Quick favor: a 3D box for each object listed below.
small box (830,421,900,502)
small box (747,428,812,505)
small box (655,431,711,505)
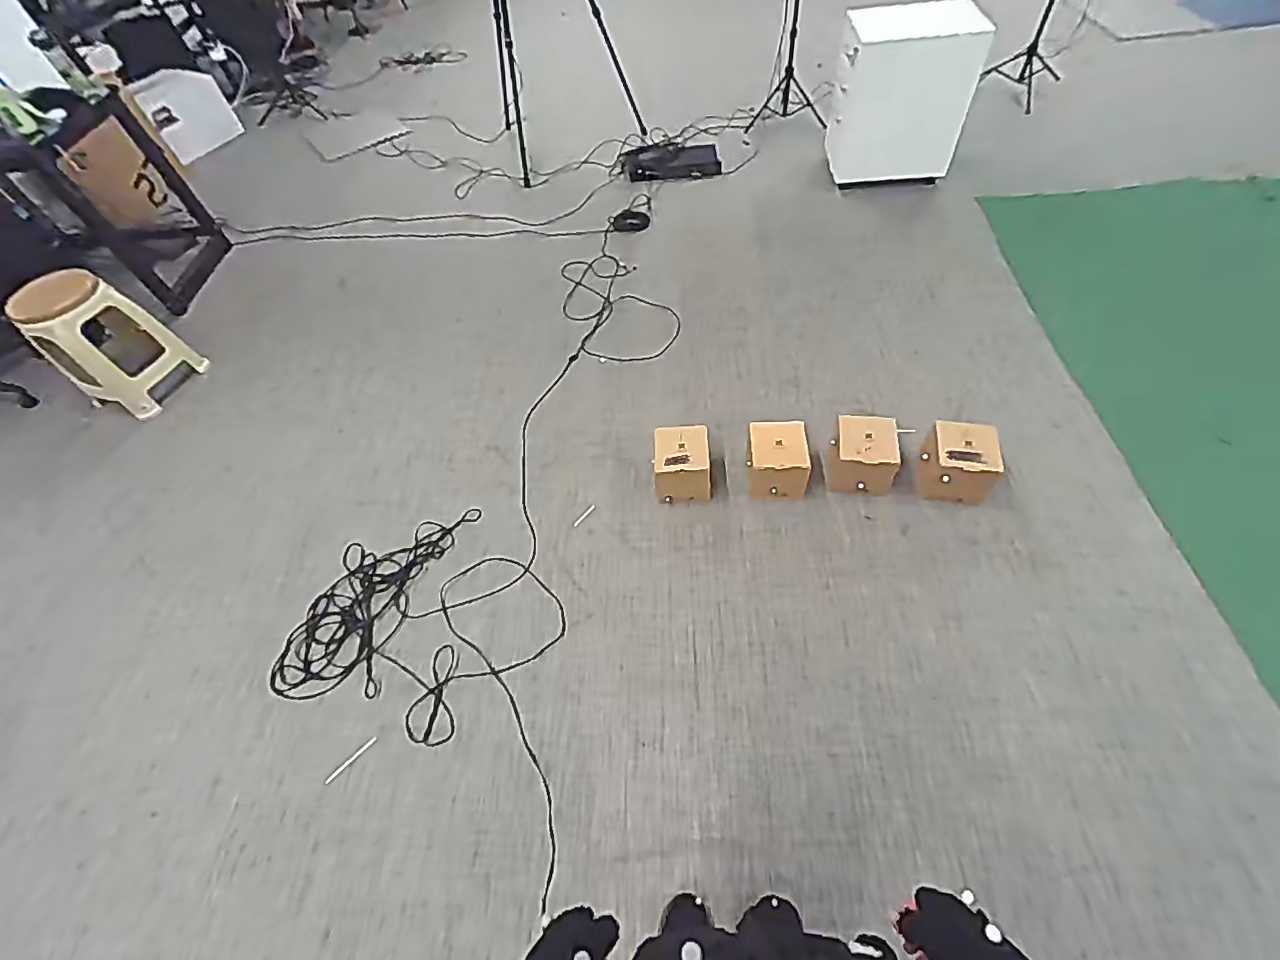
[{"bbox_3d":[0.681,-0.056,1.657,0.168,0.176,0.179,5,56,11],"label":"small box"},{"bbox_3d":[0.426,-0.041,1.679,0.168,0.176,0.179,-1,55,6],"label":"small box"},{"bbox_3d":[0.137,-0.032,1.704,0.168,0.176,0.179,-2,53,5],"label":"small box"}]
